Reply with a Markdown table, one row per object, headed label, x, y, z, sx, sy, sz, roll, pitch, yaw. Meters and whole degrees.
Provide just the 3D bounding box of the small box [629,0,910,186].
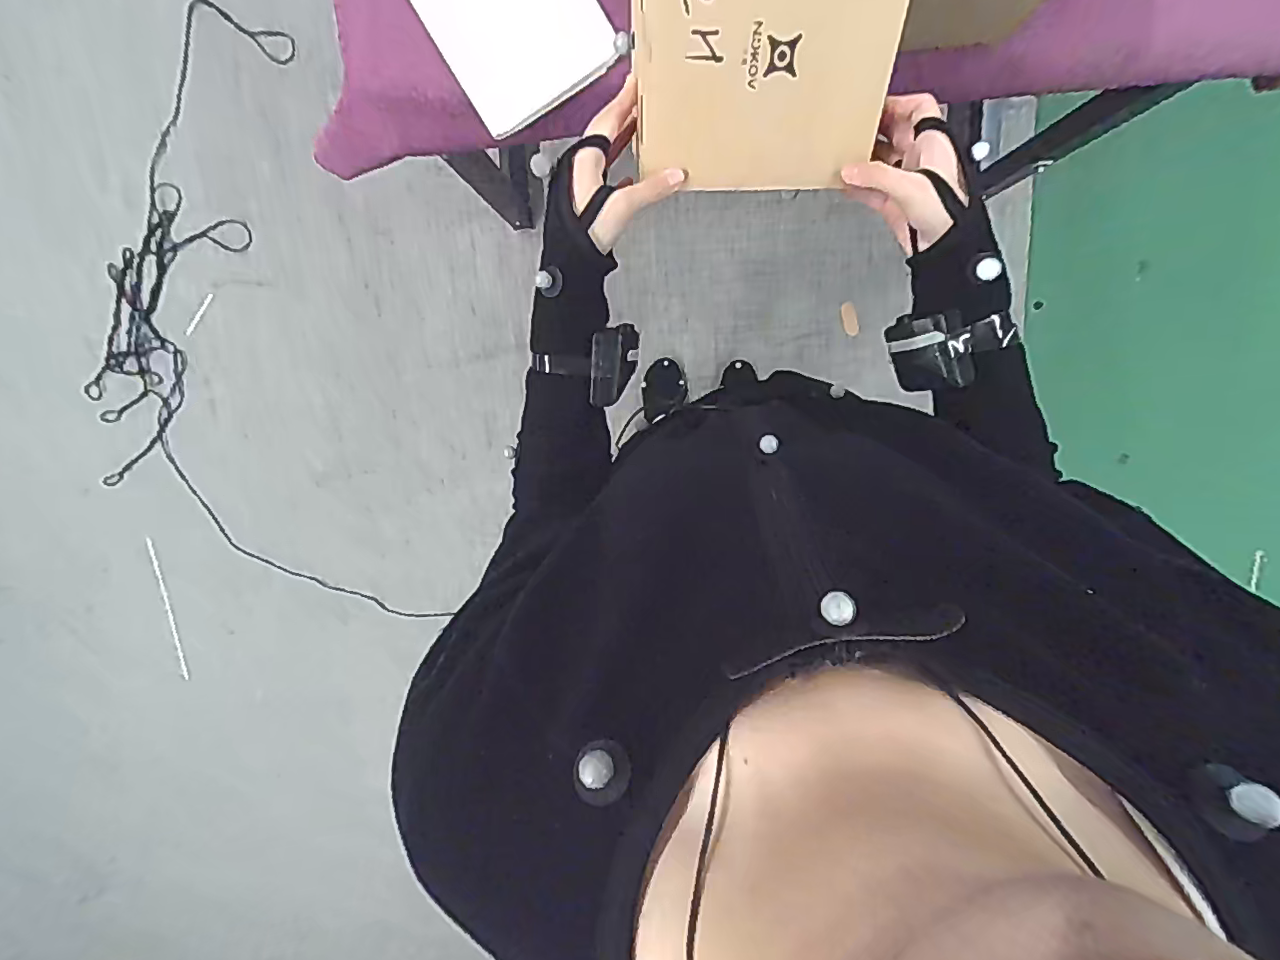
| label | x | y | z | sx | sy | sz | roll | pitch | yaw |
| --- | --- | --- | --- | --- | --- | --- | --- | --- | --- |
| small box | 0.082 | -0.338 | 0.417 | 0.179 | 0.176 | 0.168 | -1 | 131 | -2 |
